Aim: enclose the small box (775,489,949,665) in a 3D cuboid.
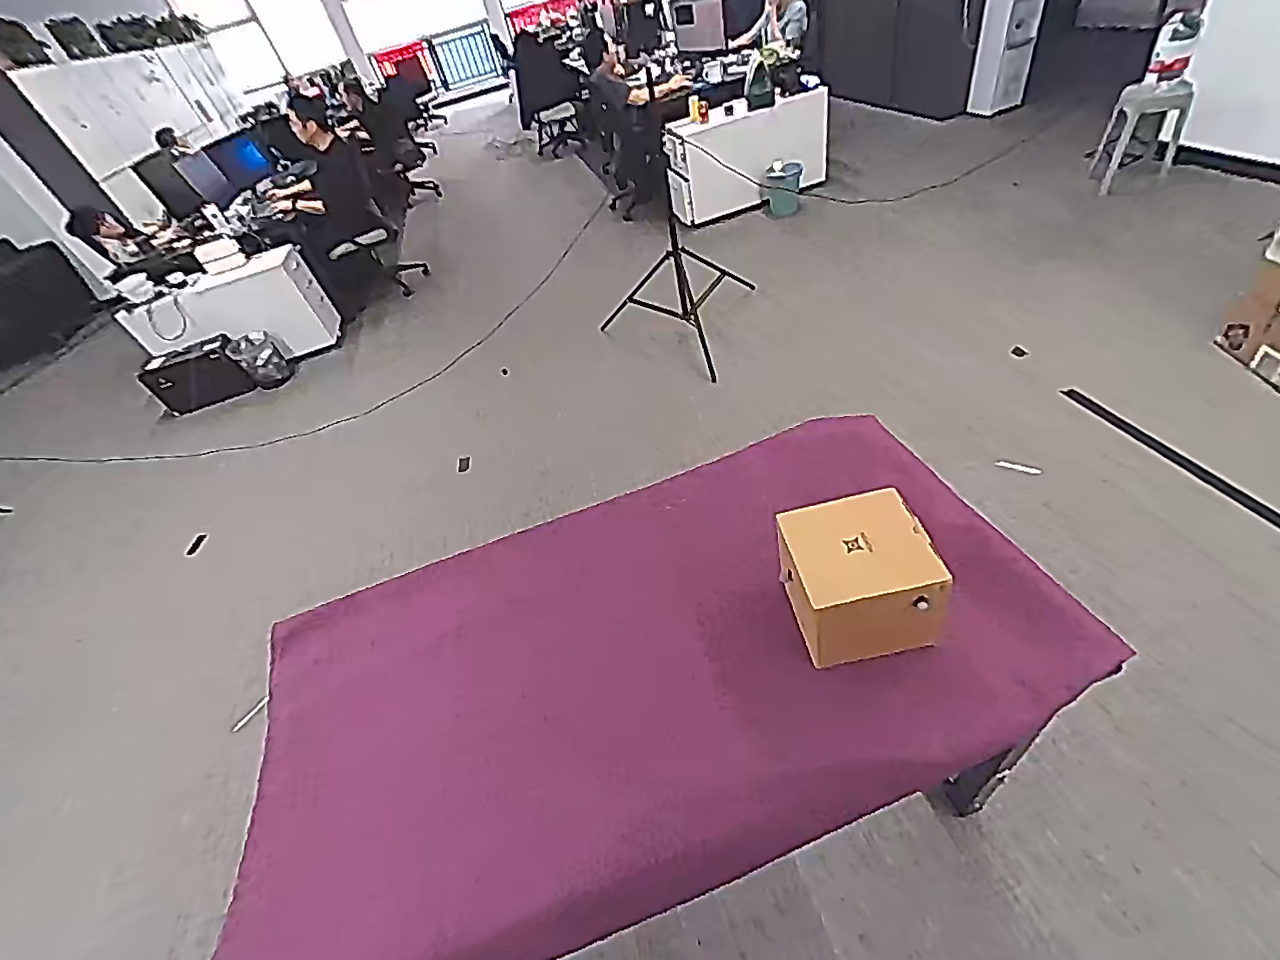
[{"bbox_3d":[0.307,0.144,0.779,0.179,0.176,0.168,-14,43,4],"label":"small box"}]
